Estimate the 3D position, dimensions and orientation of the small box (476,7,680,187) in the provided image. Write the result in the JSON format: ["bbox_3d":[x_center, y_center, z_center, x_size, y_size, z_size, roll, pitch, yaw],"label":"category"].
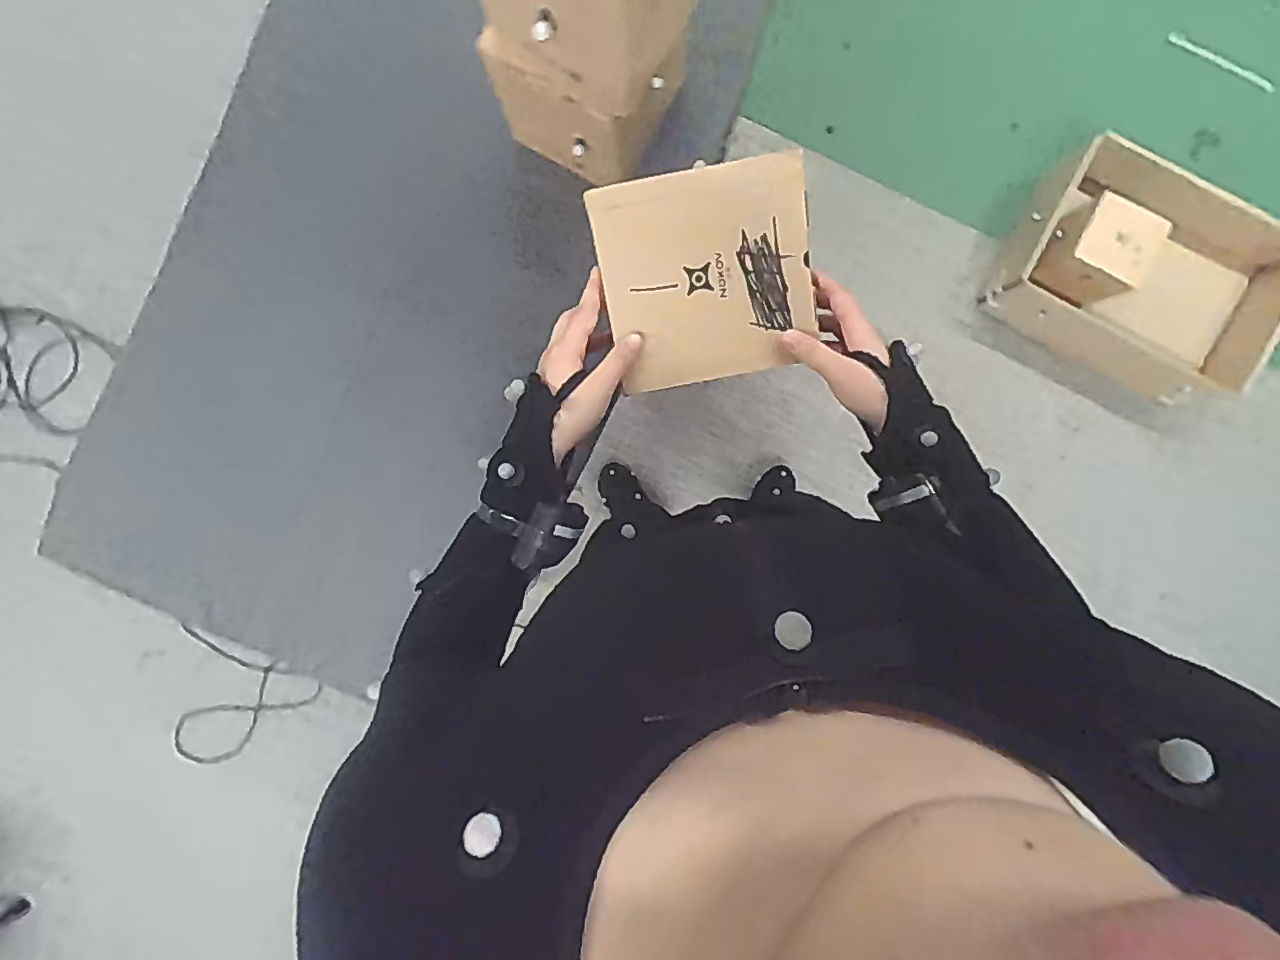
[{"bbox_3d":[-0.059,-0.488,0.633,0.168,0.176,0.179,28,92,-1],"label":"small box"}]

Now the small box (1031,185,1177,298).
[{"bbox_3d":[1.104,-0.564,1.304,0.179,0.176,0.168,26,94,-2],"label":"small box"}]

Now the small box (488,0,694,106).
[{"bbox_3d":[-0.039,-0.483,0.469,0.168,0.176,0.179,31,93,-1],"label":"small box"}]

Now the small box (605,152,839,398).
[{"bbox_3d":[0.066,-0.182,0.507,0.179,0.176,0.168,-10,106,1],"label":"small box"}]
